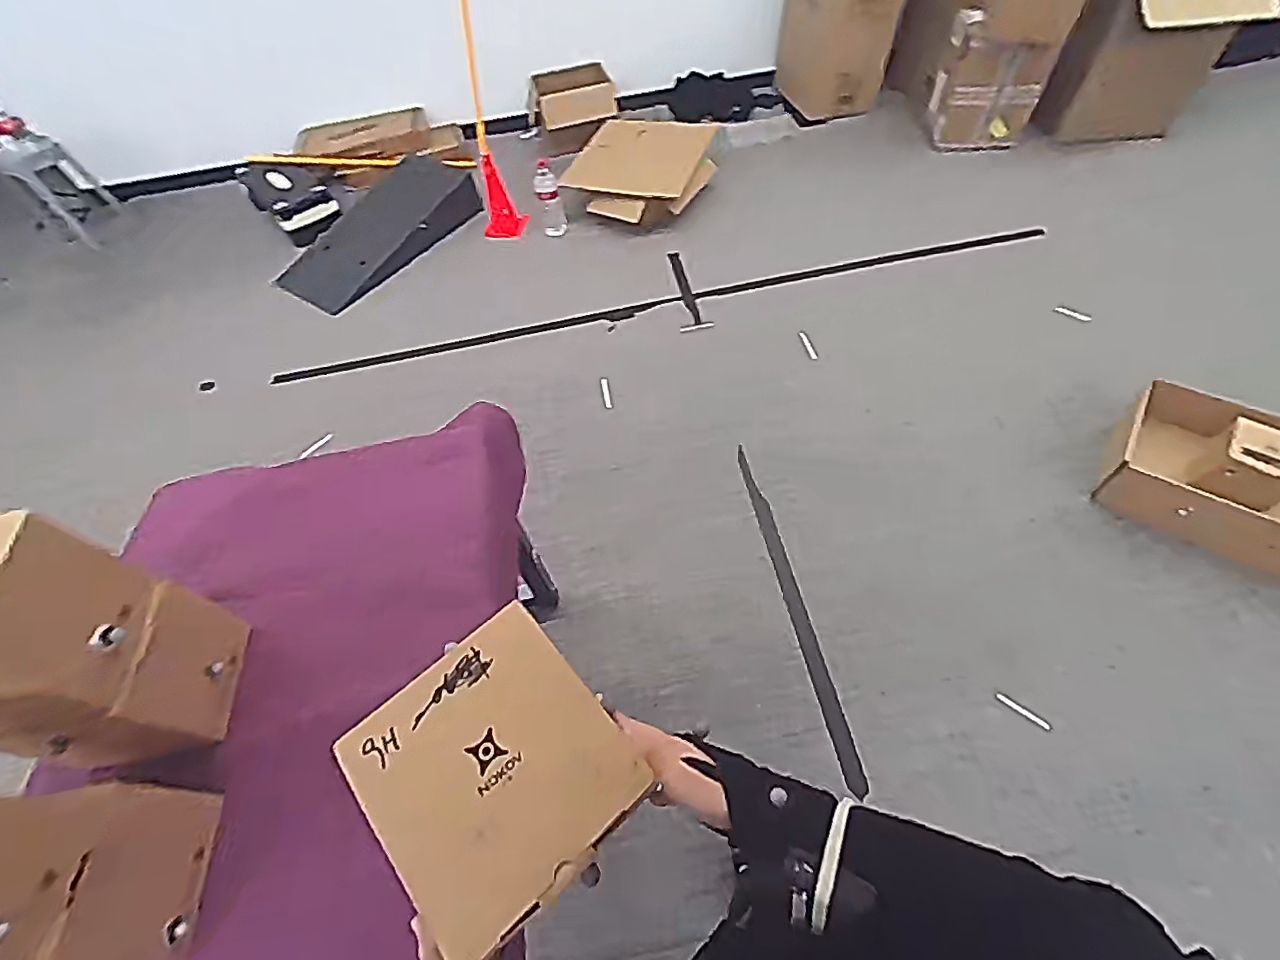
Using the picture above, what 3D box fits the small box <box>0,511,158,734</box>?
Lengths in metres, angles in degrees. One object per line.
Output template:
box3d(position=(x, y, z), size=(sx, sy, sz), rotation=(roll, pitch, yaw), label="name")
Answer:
box3d(position=(-0.677, 0.159, 0.565), size=(0.179, 0.176, 0.168), rotation=(-12, 56, -4), label="small box")

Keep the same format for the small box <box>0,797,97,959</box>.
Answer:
box3d(position=(-0.613, 0.356, 0.424), size=(0.179, 0.176, 0.168), rotation=(-8, 55, -2), label="small box")

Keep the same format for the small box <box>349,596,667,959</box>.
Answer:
box3d(position=(-0.094, 0.233, 0.454), size=(0.168, 0.176, 0.179), rotation=(-37, 66, -19), label="small box")

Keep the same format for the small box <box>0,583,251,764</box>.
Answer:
box3d(position=(-0.658, 0.254, 0.696), size=(0.179, 0.176, 0.168), rotation=(-10, 56, -3), label="small box")

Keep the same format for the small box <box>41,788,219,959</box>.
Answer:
box3d(position=(-0.598, 0.436, 0.565), size=(0.179, 0.176, 0.168), rotation=(-11, 55, -2), label="small box")
